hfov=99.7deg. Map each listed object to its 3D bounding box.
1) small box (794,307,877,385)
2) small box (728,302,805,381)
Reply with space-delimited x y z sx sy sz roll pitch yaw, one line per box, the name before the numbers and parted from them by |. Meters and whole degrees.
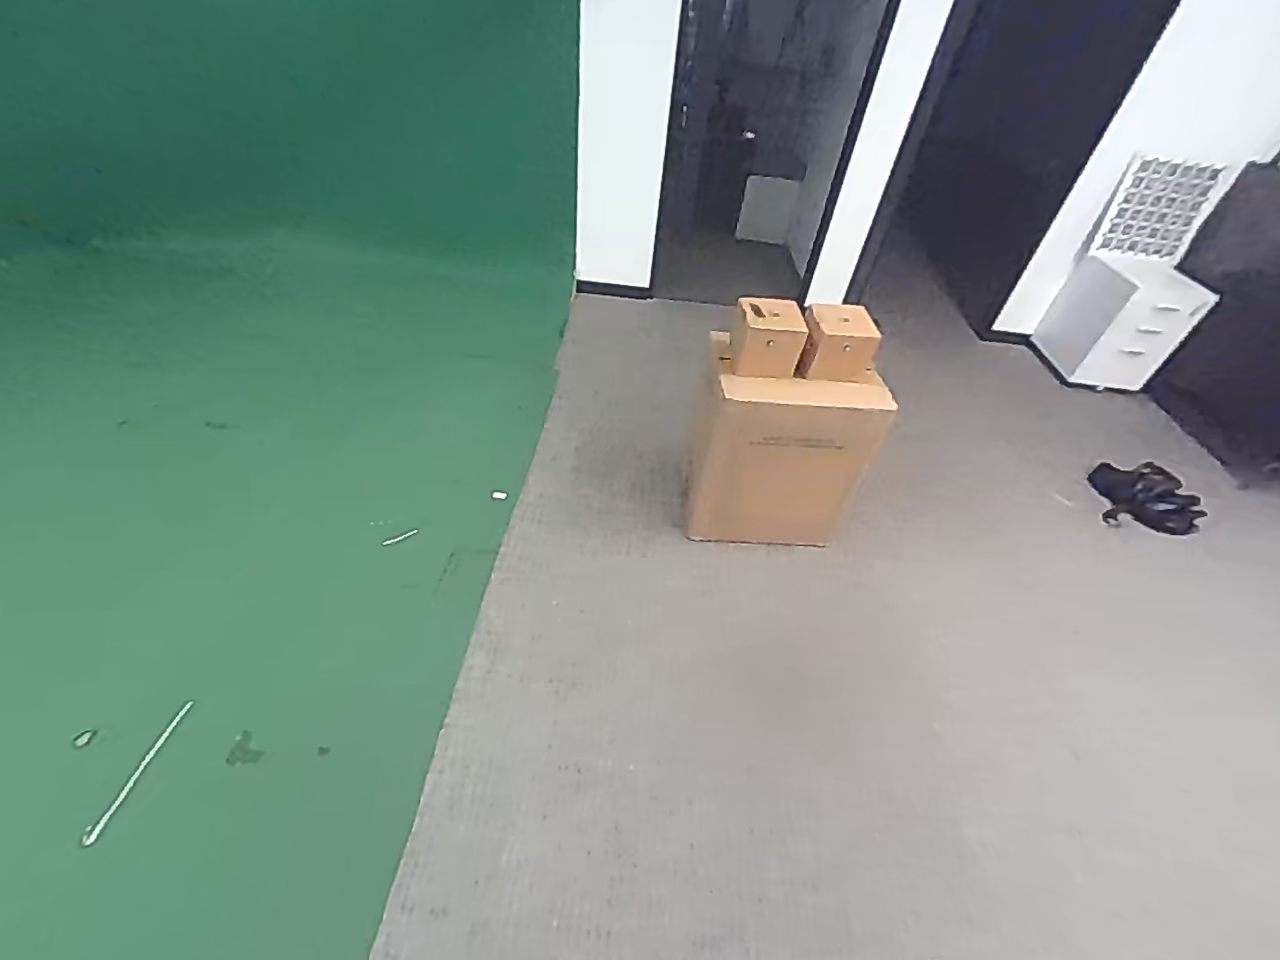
small box | 0.585 -0.408 1.660 0.179 0.176 0.168 2 49 -8
small box | 0.372 -0.417 1.635 0.179 0.176 0.168 3 48 -7
